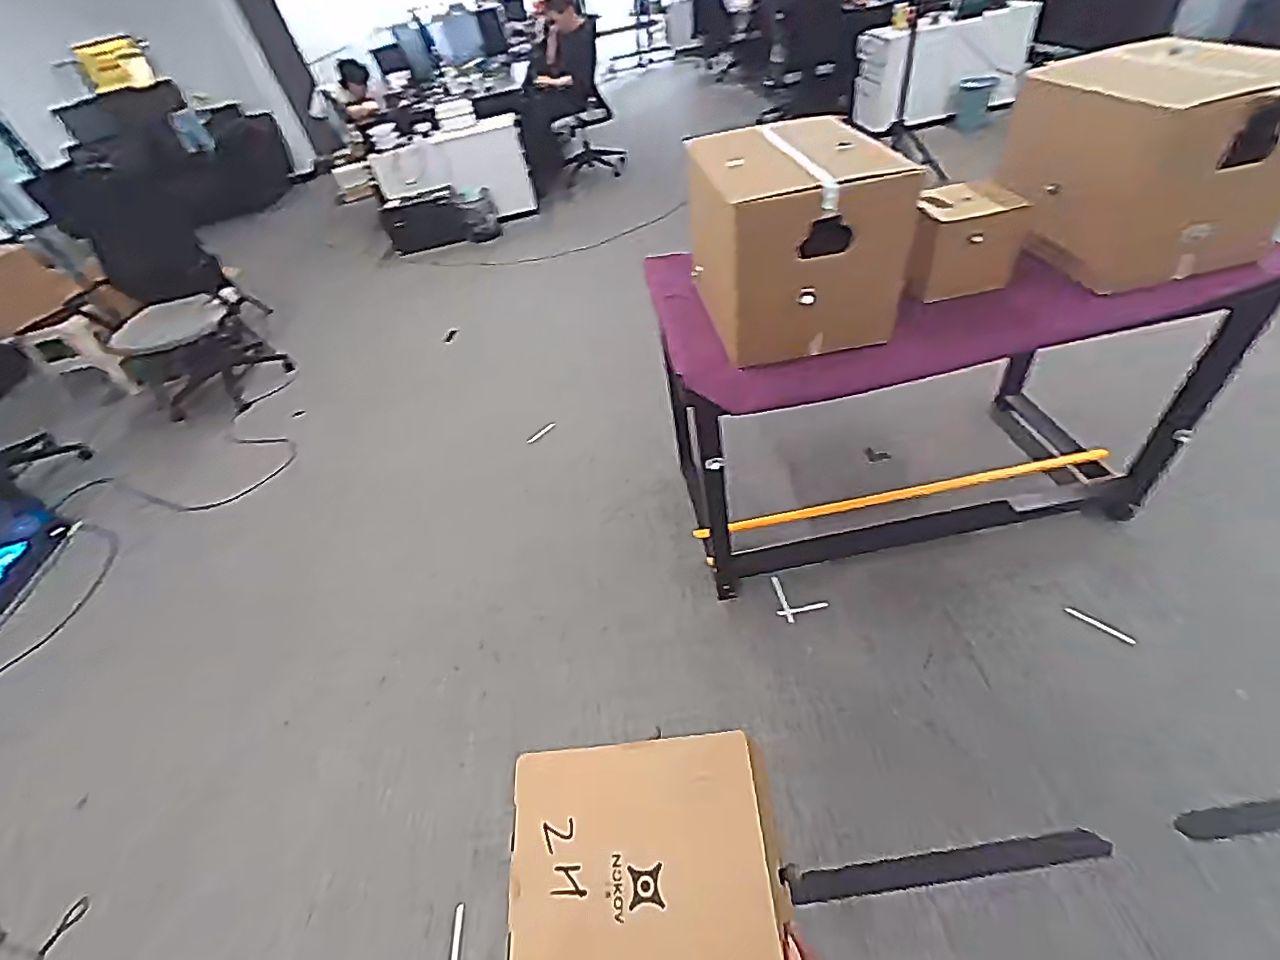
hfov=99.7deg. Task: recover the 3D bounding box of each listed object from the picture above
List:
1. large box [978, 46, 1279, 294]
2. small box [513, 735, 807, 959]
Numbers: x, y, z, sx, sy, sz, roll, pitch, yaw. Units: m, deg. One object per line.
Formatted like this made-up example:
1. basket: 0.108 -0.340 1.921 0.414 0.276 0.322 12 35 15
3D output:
1. large box: 0.969 -0.620 1.072 0.320 0.320 0.408 -12 43 1
2. small box: 0.024 0.294 0.402 0.179 0.176 0.168 -12 56 11
